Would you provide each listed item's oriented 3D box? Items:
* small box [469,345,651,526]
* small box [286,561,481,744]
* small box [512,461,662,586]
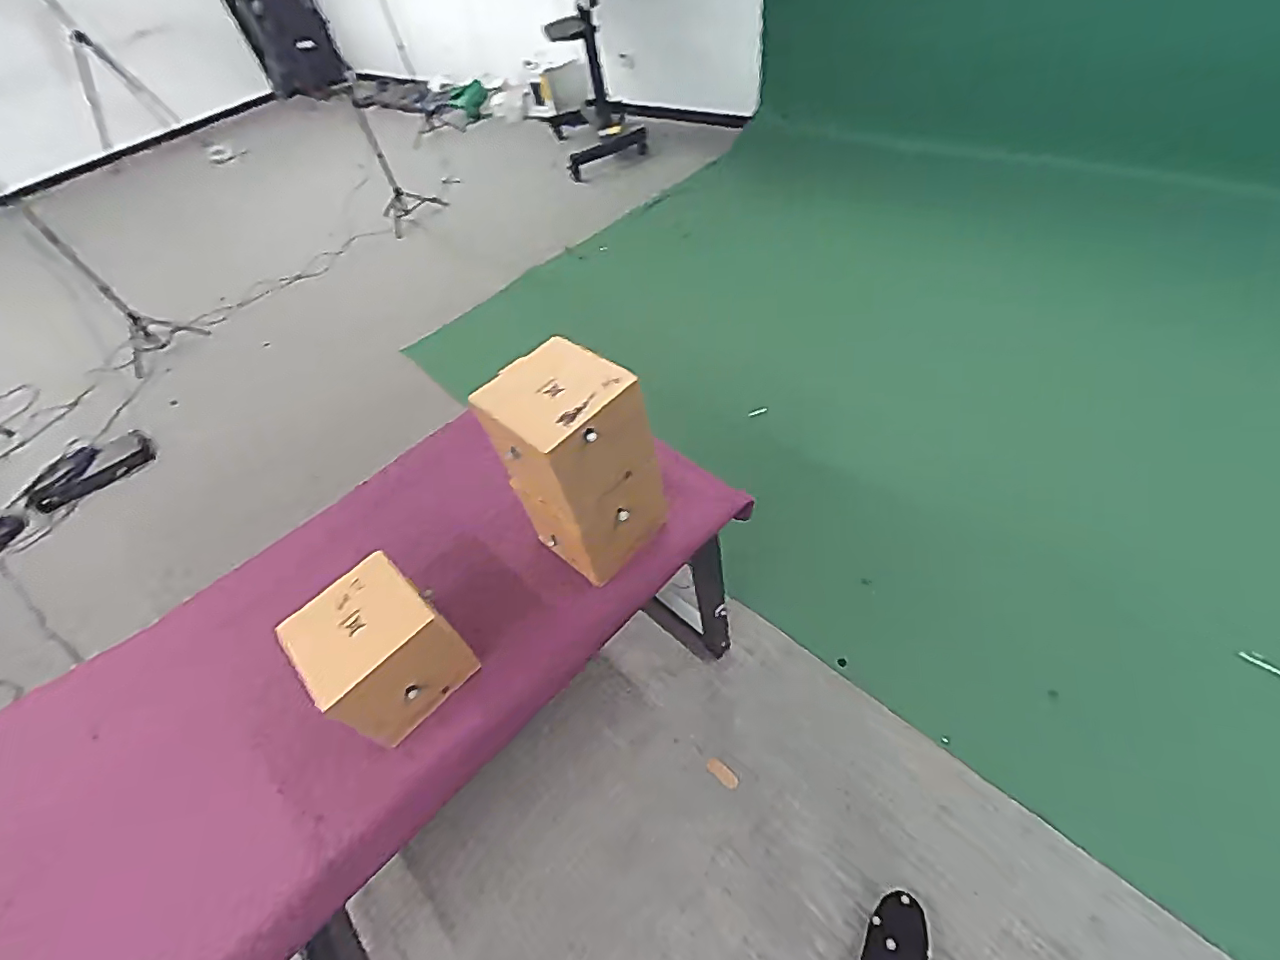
[{"bbox_3d":[-0.108,-0.062,0.790,0.179,0.176,0.168,32,66,33],"label":"small box"},{"bbox_3d":[-0.369,0.260,0.801,0.179,0.176,0.168,32,64,35],"label":"small box"},{"bbox_3d":[-0.077,0.043,0.912,0.168,0.176,0.179,32,65,32],"label":"small box"}]
